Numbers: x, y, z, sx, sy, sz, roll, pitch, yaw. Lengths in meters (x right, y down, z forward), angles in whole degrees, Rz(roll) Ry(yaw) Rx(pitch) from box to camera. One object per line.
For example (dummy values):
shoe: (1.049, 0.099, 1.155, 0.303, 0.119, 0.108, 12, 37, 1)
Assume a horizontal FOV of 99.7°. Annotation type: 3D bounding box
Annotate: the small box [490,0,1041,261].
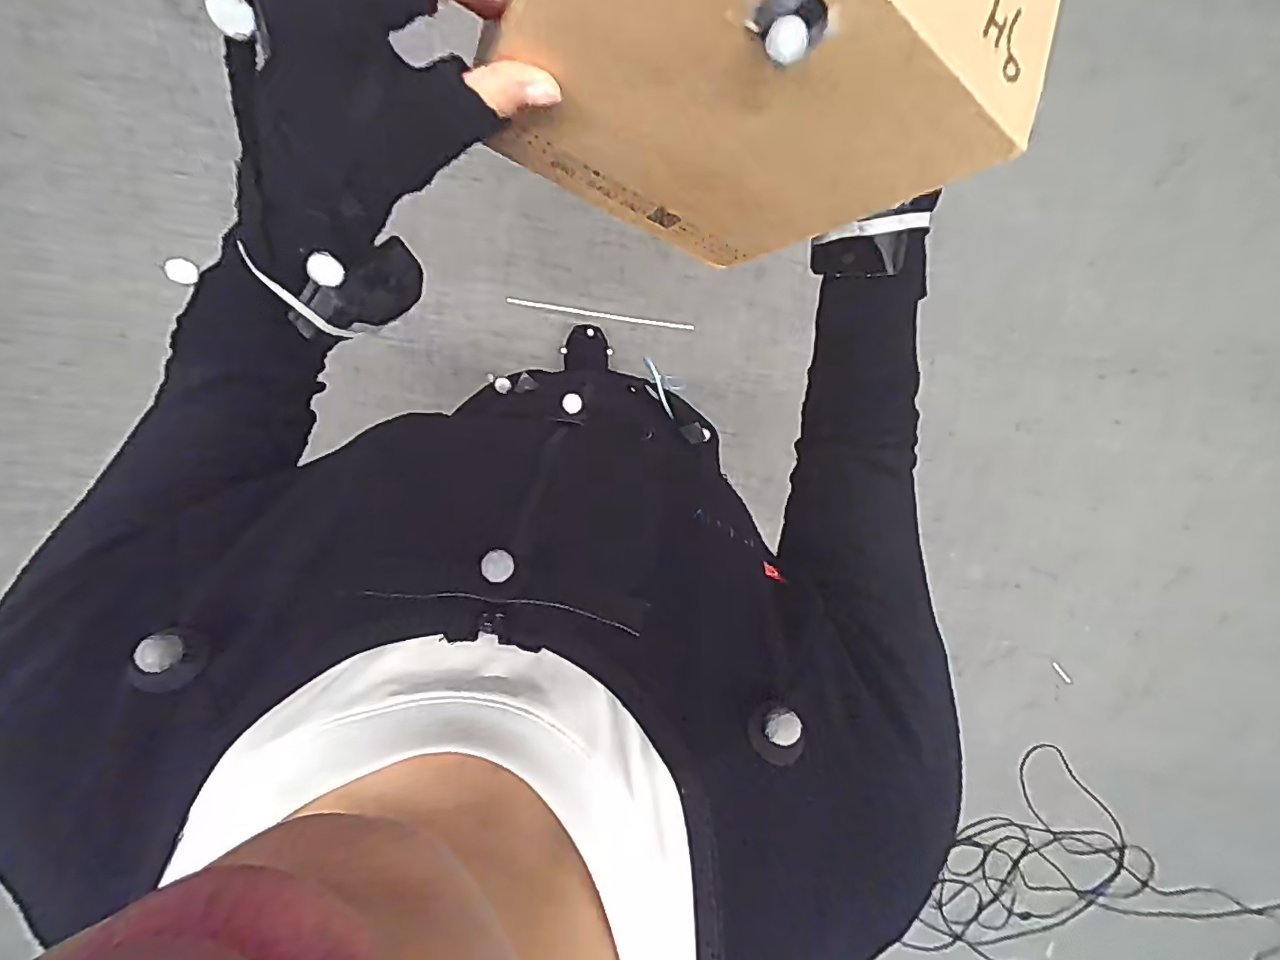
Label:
small box: (0.048, -0.229, 0.236, 0.168, 0.176, 0.179, 14, 87, -31)
